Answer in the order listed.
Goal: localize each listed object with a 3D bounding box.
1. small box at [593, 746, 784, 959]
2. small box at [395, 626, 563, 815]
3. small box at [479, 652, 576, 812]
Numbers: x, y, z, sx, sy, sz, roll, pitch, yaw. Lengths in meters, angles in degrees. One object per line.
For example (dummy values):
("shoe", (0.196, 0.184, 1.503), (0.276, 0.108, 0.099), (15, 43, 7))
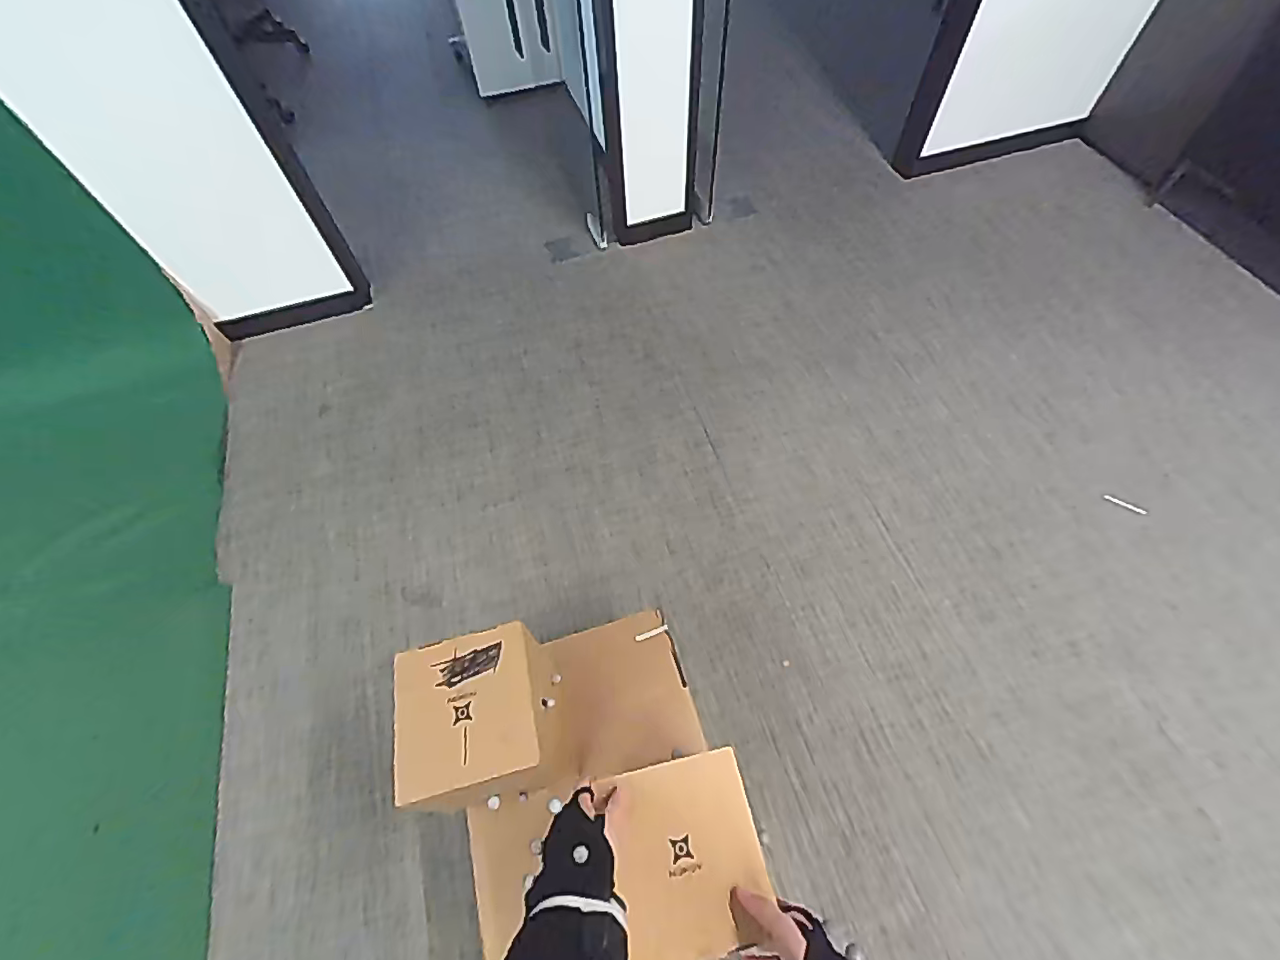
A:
("small box", (0.045, 0.434, 0.631), (0.168, 0.176, 0.179), (-12, 58, -6))
("small box", (-0.206, 0.321, 0.714), (0.168, 0.176, 0.179), (-15, 57, -5))
("small box", (-0.209, 0.403, 0.858), (0.168, 0.176, 0.179), (-16, 56, -7))
